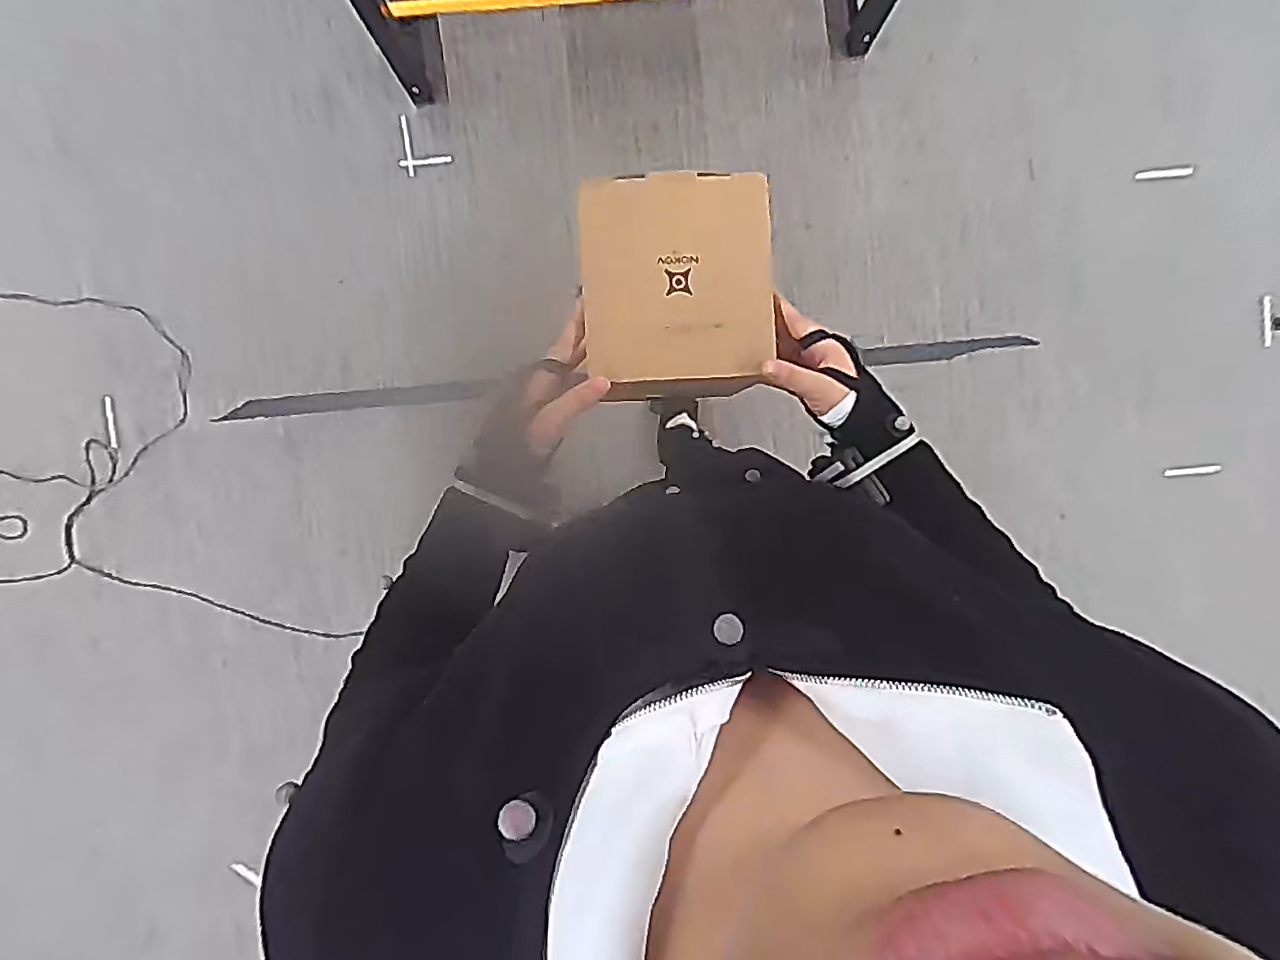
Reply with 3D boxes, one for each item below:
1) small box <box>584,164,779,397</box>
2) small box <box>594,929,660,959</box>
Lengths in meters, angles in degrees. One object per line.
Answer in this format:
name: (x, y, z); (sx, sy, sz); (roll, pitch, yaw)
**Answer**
small box: (0.030, -0.183, 0.541); (0.168, 0.176, 0.179); (-4, 93, -3)
small box: (-0.028, 1.283, 1.365); (0.168, 0.176, 0.179); (-8, 93, 0)
